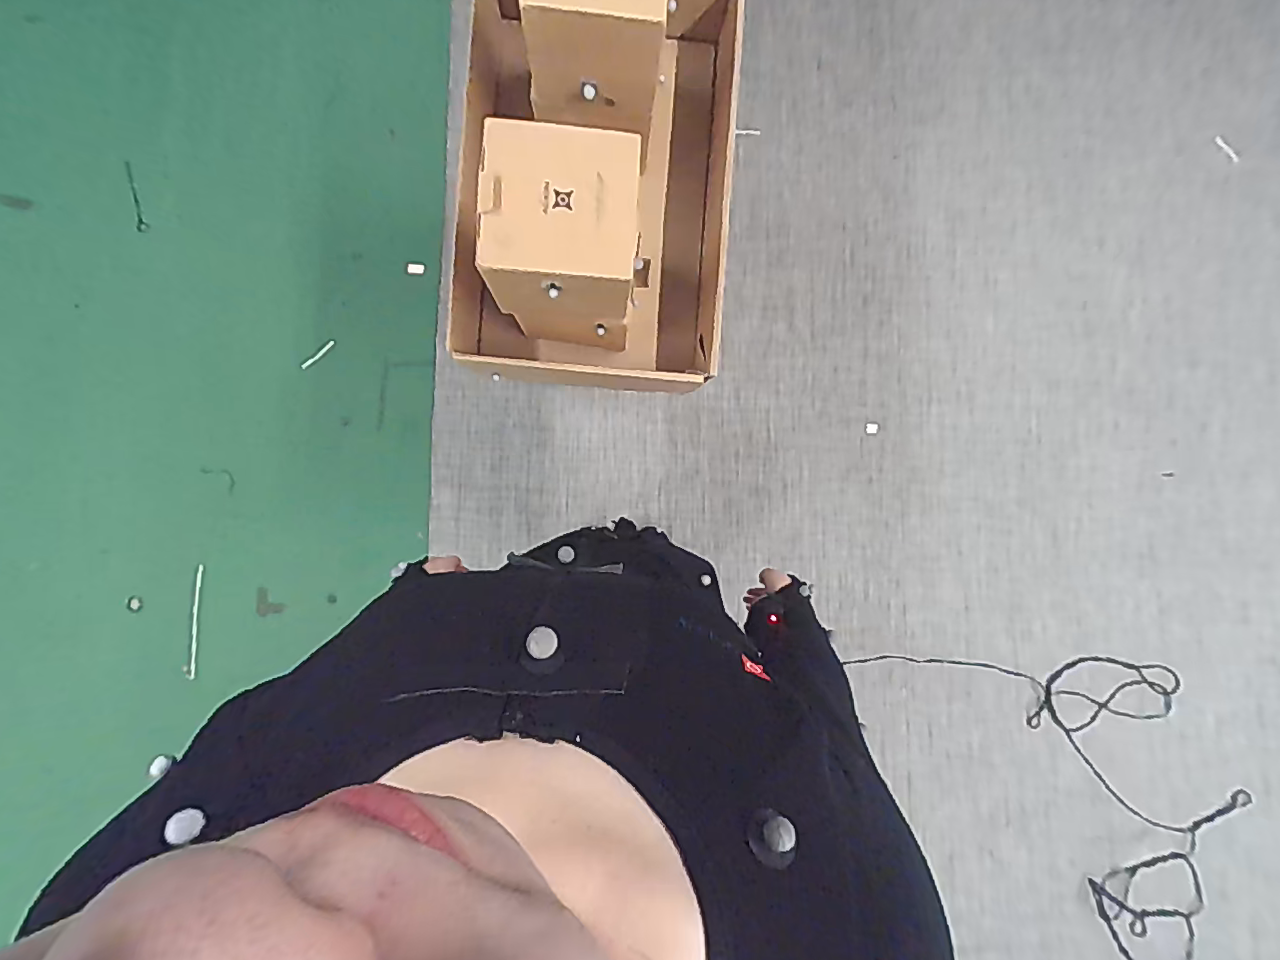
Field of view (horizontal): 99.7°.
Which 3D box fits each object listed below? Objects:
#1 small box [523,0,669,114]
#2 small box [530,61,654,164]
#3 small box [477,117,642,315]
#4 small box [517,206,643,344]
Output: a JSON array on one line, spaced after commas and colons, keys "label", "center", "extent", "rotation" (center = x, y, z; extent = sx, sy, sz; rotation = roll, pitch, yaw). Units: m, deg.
[{"label": "small box", "center": [-0.050, -0.605, 0.673], "extent": [0.168, 0.176, 0.179], "rotation": [4, 93, -4]}, {"label": "small box", "center": [-0.065, -0.616, 0.836], "extent": [0.179, 0.176, 0.168], "rotation": [5, 93, -4]}, {"label": "small box", "center": [-0.096, -0.315, 0.681], "extent": [0.179, 0.176, 0.168], "rotation": [3, 92, -5]}, {"label": "small box", "center": [-0.098, -0.321, 0.843], "extent": [0.179, 0.176, 0.168], "rotation": [8, 90, -5]}]
